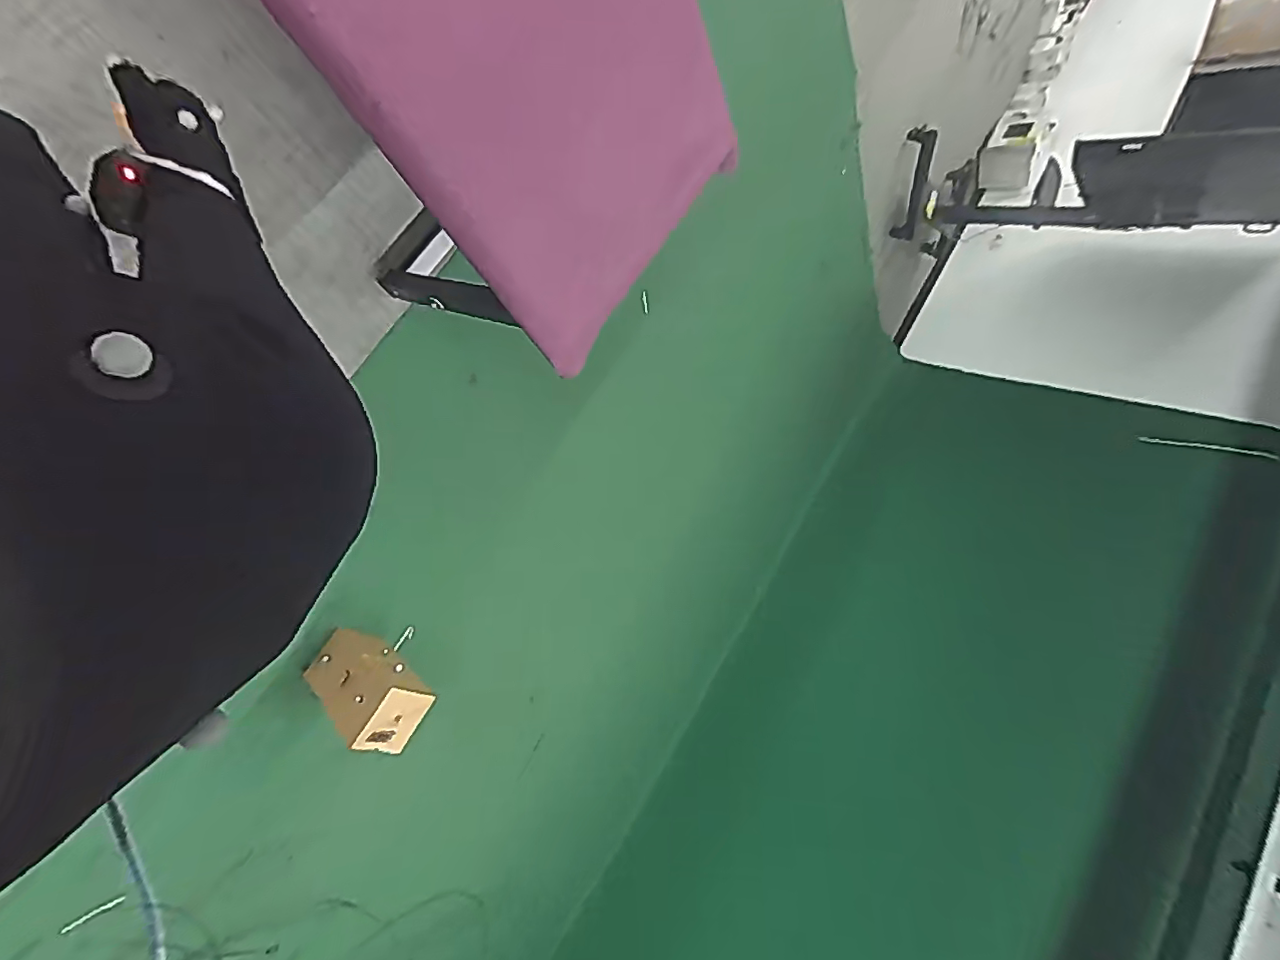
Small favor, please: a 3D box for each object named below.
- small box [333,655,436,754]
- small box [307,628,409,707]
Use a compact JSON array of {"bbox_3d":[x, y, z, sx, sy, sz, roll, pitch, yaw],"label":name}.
[{"bbox_3d":[-0.716,0.623,1.505,0.179,0.176,0.168,-55,143,-13],"label":"small box"},{"bbox_3d":[-0.837,0.563,1.604,0.168,0.176,0.179,-57,142,-12],"label":"small box"}]
